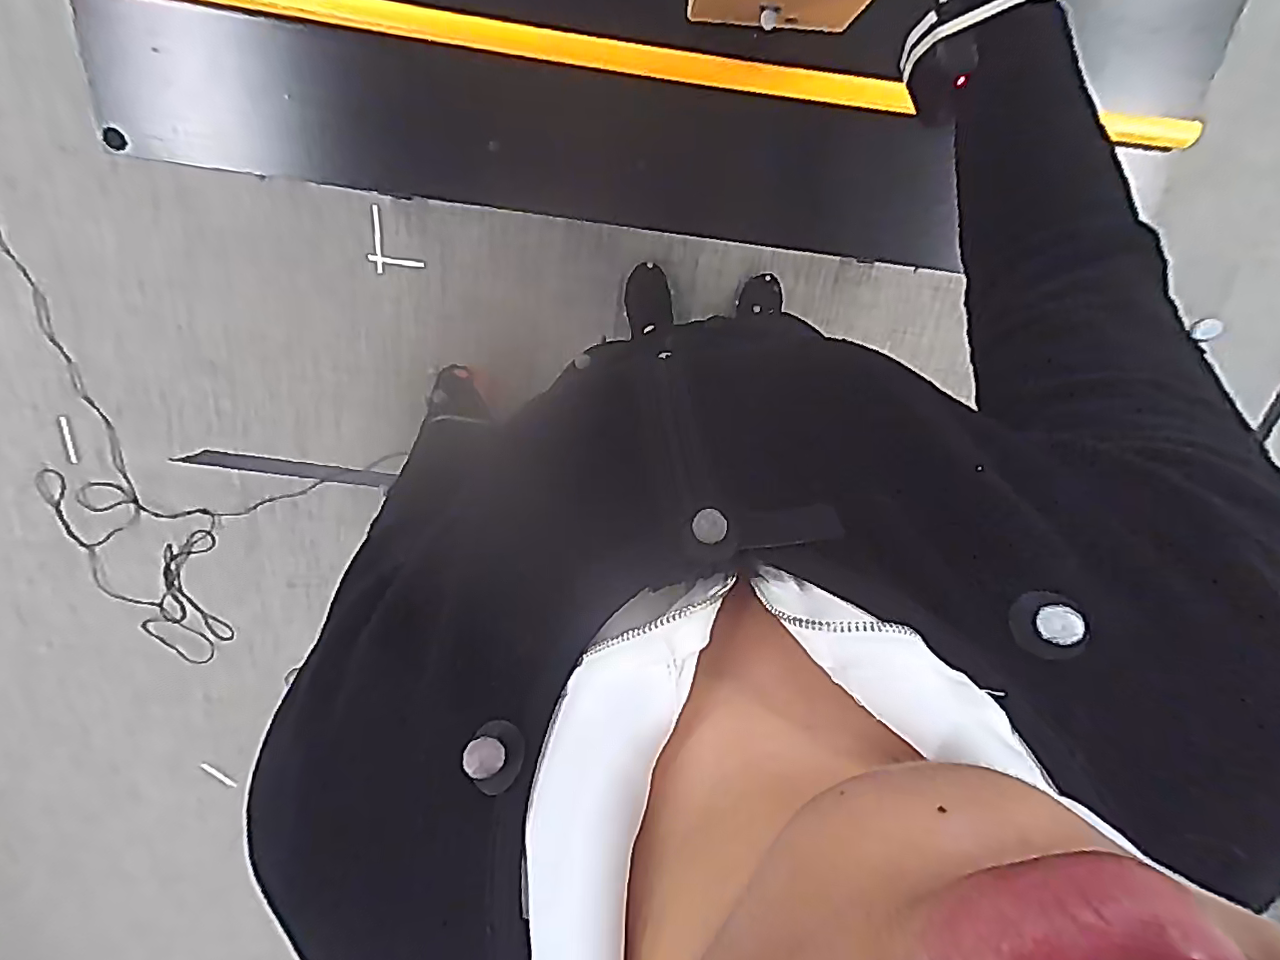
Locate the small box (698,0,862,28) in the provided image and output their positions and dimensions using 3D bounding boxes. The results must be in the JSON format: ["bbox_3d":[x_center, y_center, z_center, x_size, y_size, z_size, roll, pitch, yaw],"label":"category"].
[{"bbox_3d":[0.140,-0.533,0.463,0.168,0.176,0.179,3,114,-2],"label":"small box"}]
